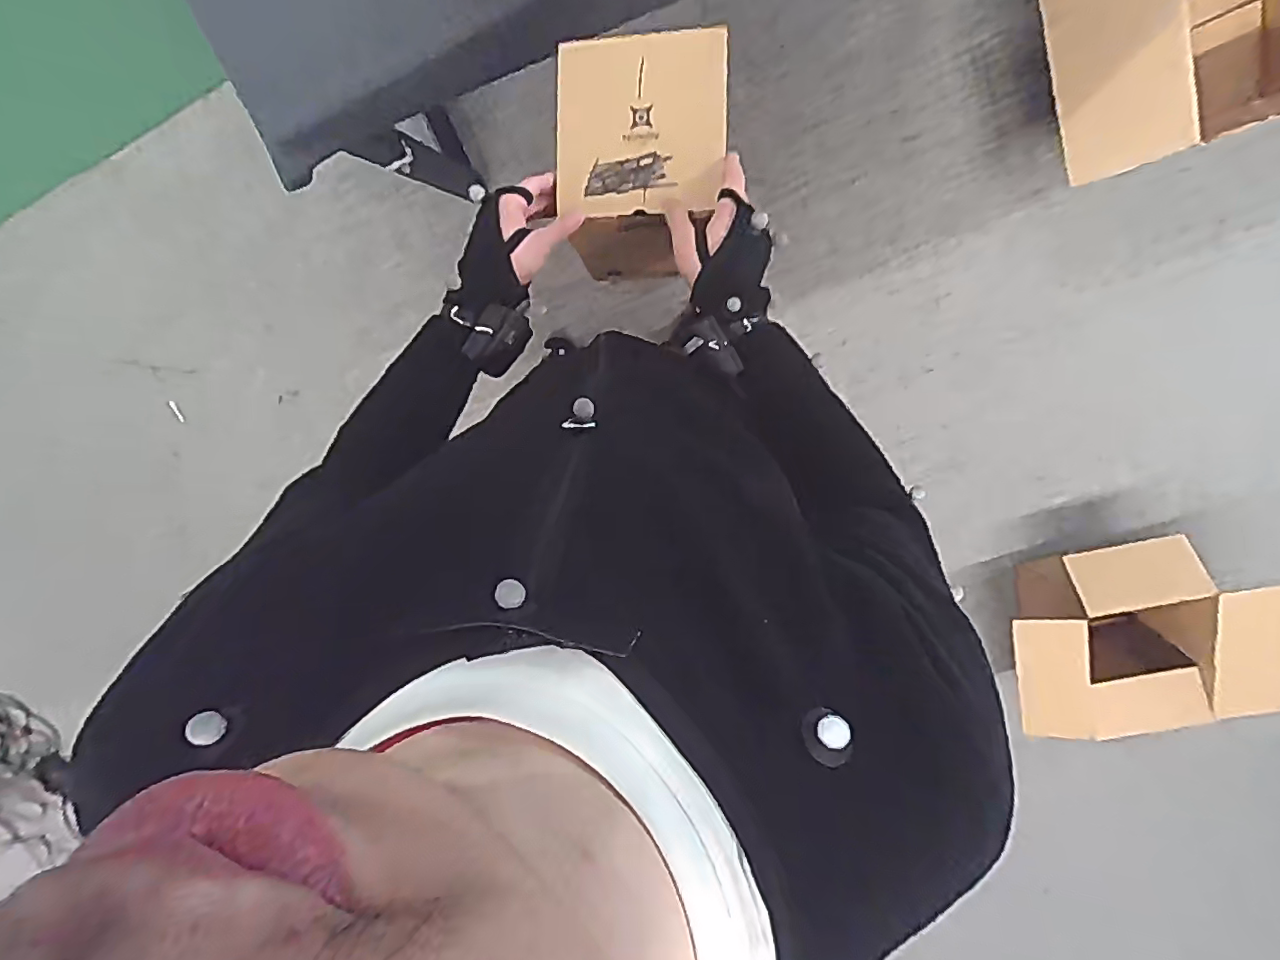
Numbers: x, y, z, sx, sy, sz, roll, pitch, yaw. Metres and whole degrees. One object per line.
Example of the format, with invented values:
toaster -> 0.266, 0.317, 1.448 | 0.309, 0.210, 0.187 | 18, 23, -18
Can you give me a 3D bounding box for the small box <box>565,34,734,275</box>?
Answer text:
small box -> 0.019, -0.341, 0.606 | 0.168, 0.176, 0.179 | 1, 89, 8
